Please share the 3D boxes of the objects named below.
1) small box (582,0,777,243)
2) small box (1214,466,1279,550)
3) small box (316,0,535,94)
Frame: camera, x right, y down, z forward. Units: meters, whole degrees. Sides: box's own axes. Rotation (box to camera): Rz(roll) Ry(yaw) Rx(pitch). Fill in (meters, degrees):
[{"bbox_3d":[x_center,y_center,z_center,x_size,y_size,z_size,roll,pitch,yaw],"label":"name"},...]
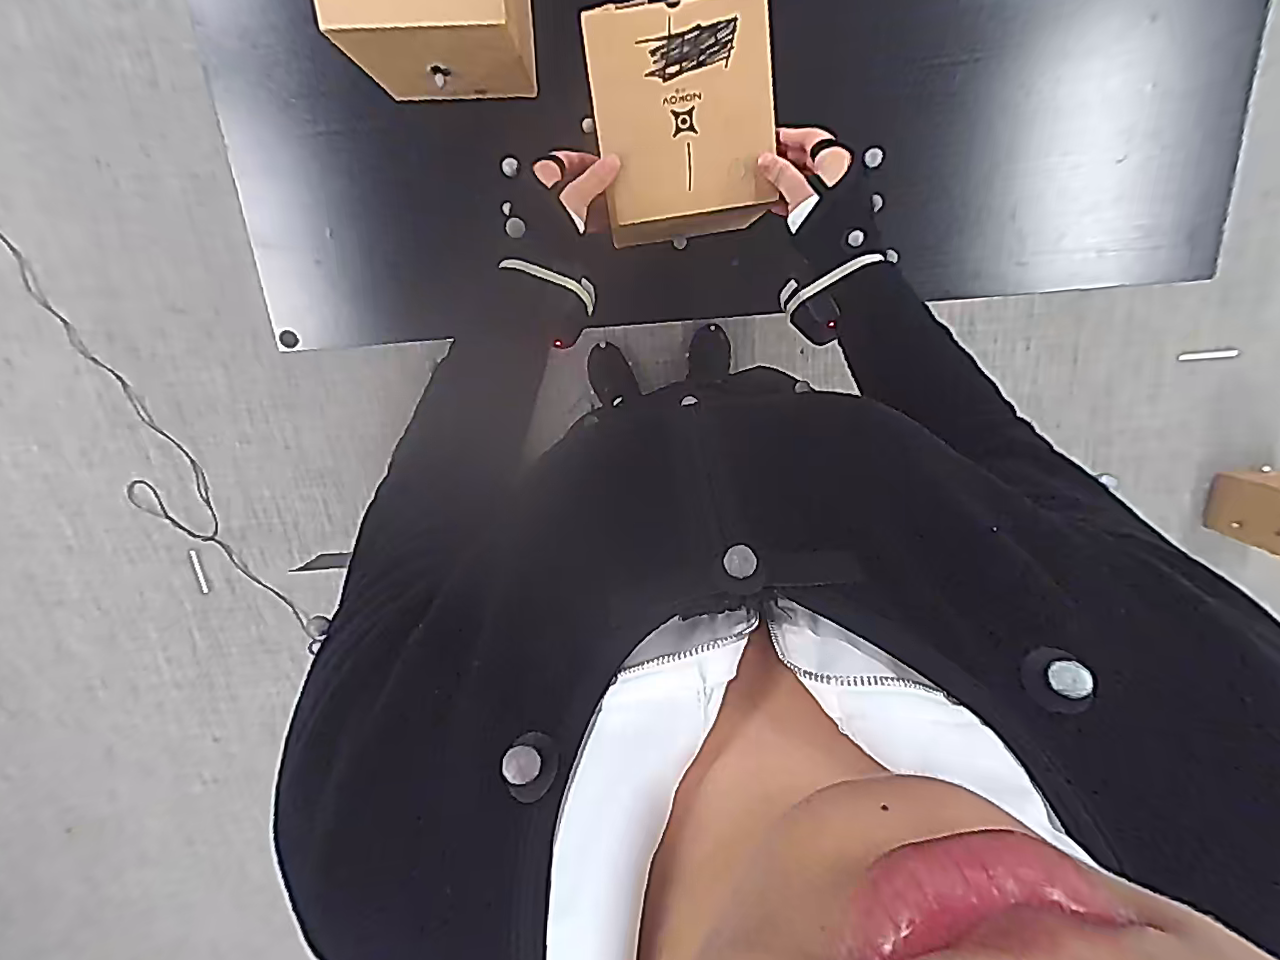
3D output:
[{"bbox_3d":[0.038,-0.364,0.571,0.168,0.176,0.179,-8,107,2],"label":"small box"},{"bbox_3d":[1.729,0.071,1.464,0.168,0.176,0.179,-5,106,1],"label":"small box"},{"bbox_3d":[-0.203,-0.503,0.528,0.168,0.176,0.179,-2,106,0],"label":"small box"}]
